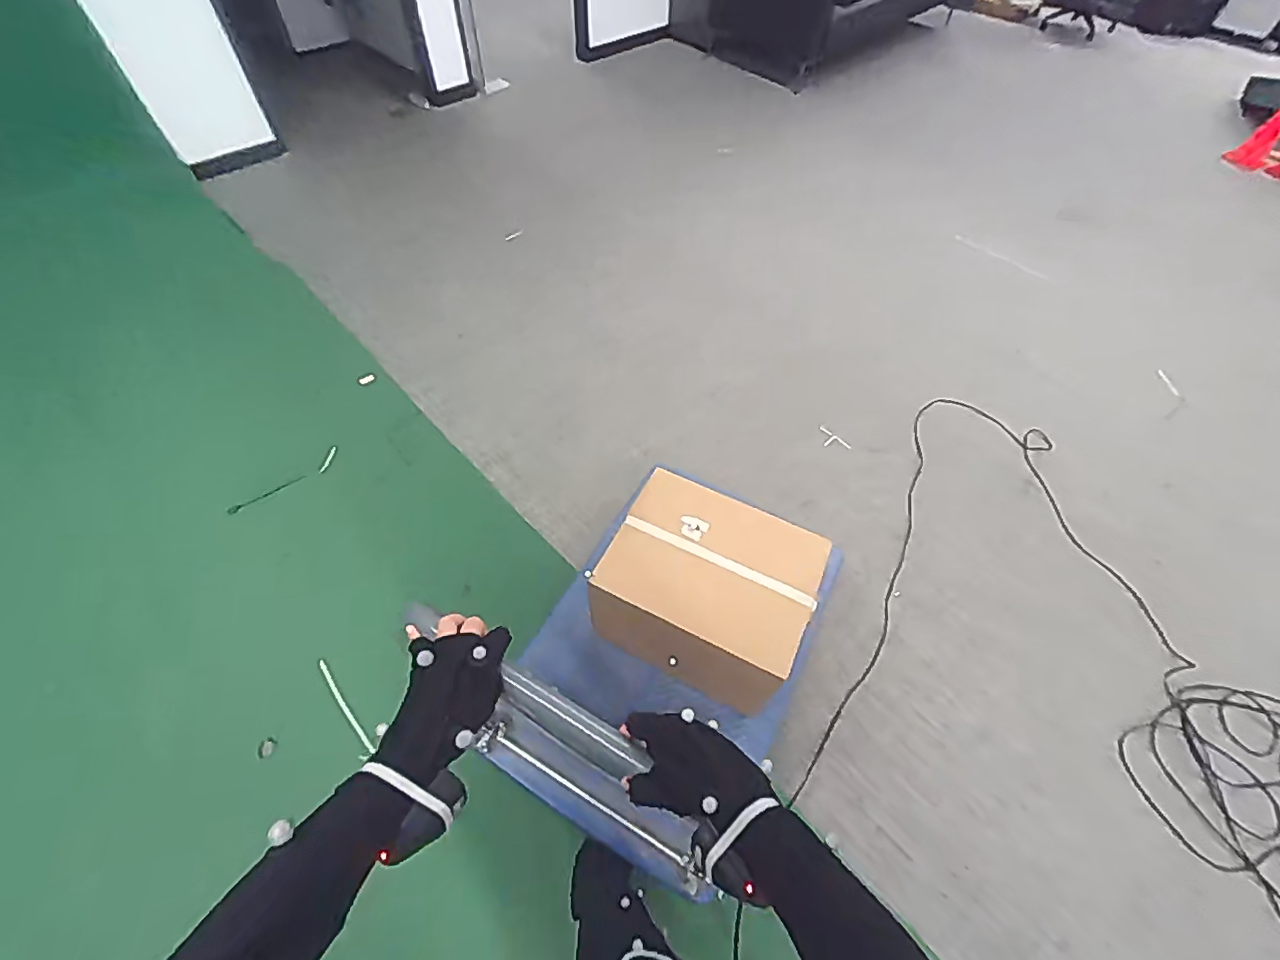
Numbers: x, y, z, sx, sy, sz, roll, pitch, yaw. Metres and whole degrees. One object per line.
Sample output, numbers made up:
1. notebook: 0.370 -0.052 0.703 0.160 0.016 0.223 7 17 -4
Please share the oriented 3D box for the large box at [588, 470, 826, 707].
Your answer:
1. large box: 0.140 0.244 1.199 0.408 0.320 0.320 23 57 14
